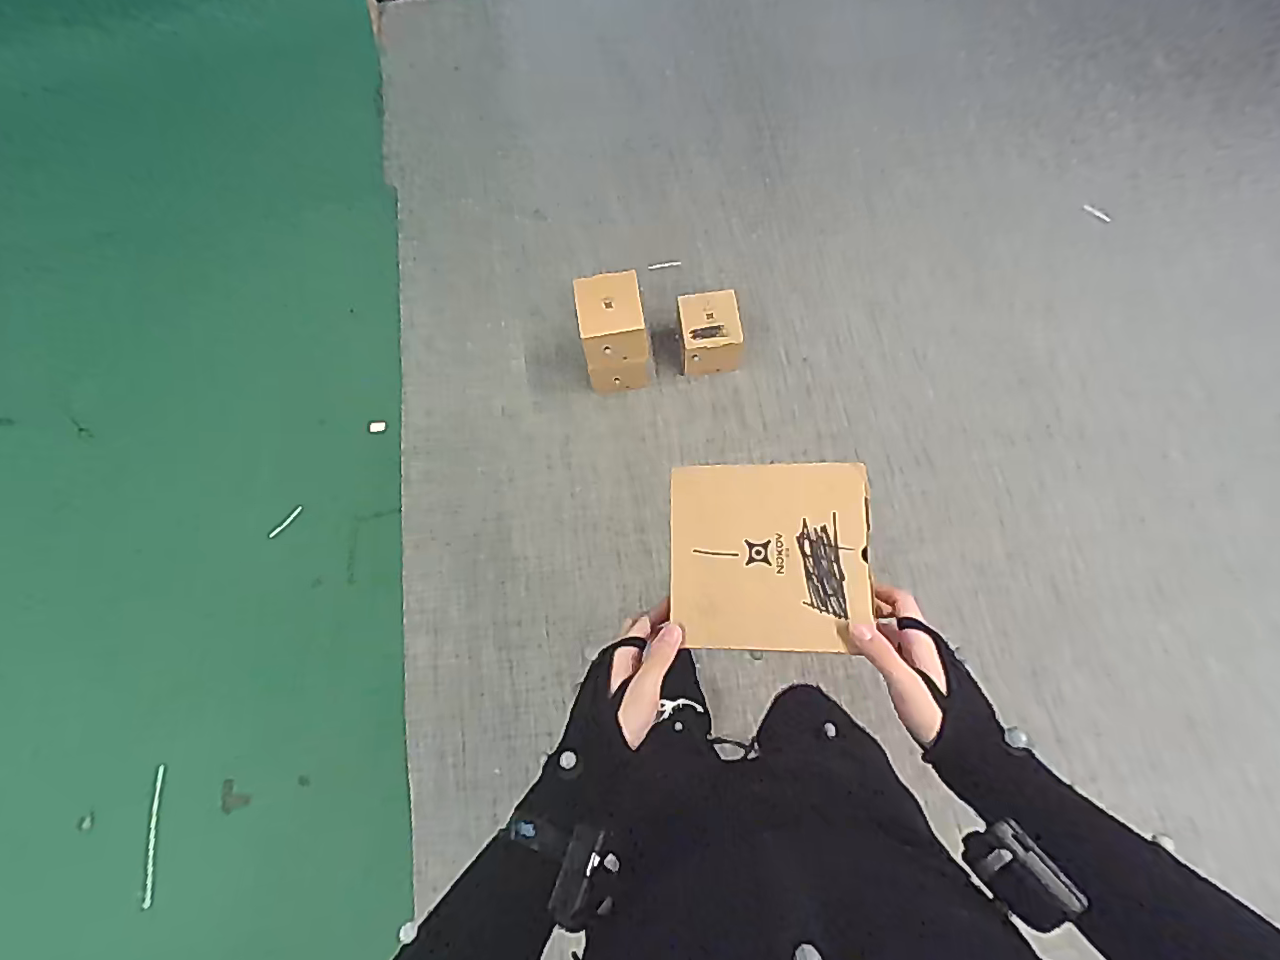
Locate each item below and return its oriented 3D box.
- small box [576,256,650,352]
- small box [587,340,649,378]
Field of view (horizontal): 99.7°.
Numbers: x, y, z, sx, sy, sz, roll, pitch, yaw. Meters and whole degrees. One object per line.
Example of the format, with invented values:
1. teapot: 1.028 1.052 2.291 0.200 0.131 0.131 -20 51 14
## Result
1. small box: -0.067 -0.451 1.414 0.168 0.176 0.179 -8 74 0
2. small box: -0.063 -0.408 1.571 0.168 0.176 0.179 -5 75 0
